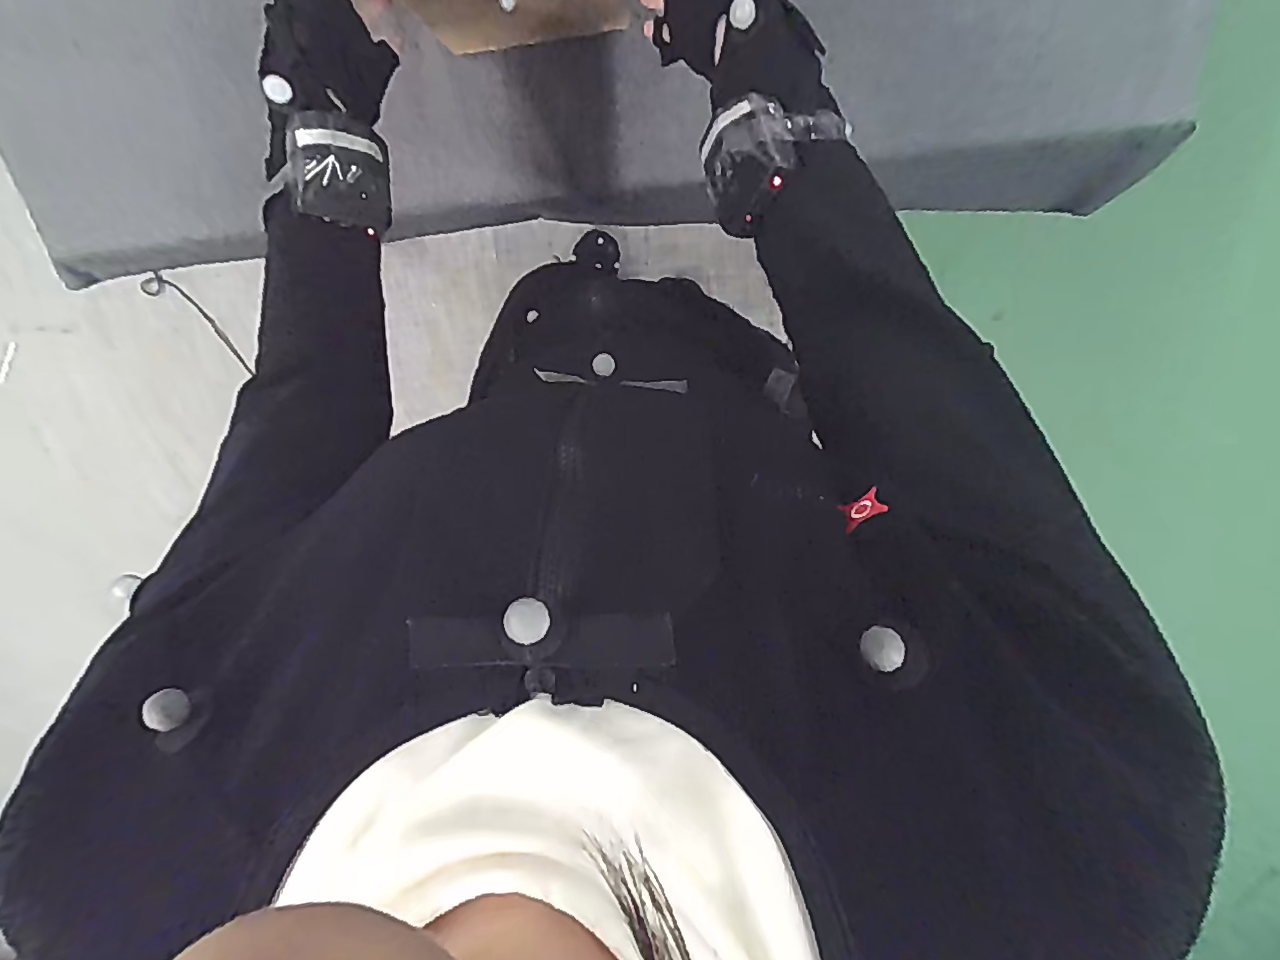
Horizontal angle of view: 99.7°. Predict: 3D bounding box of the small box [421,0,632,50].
[{"bbox_3d":[-0.104,-0.466,0.419,0.179,0.176,0.168,-6,114,4],"label":"small box"}]
